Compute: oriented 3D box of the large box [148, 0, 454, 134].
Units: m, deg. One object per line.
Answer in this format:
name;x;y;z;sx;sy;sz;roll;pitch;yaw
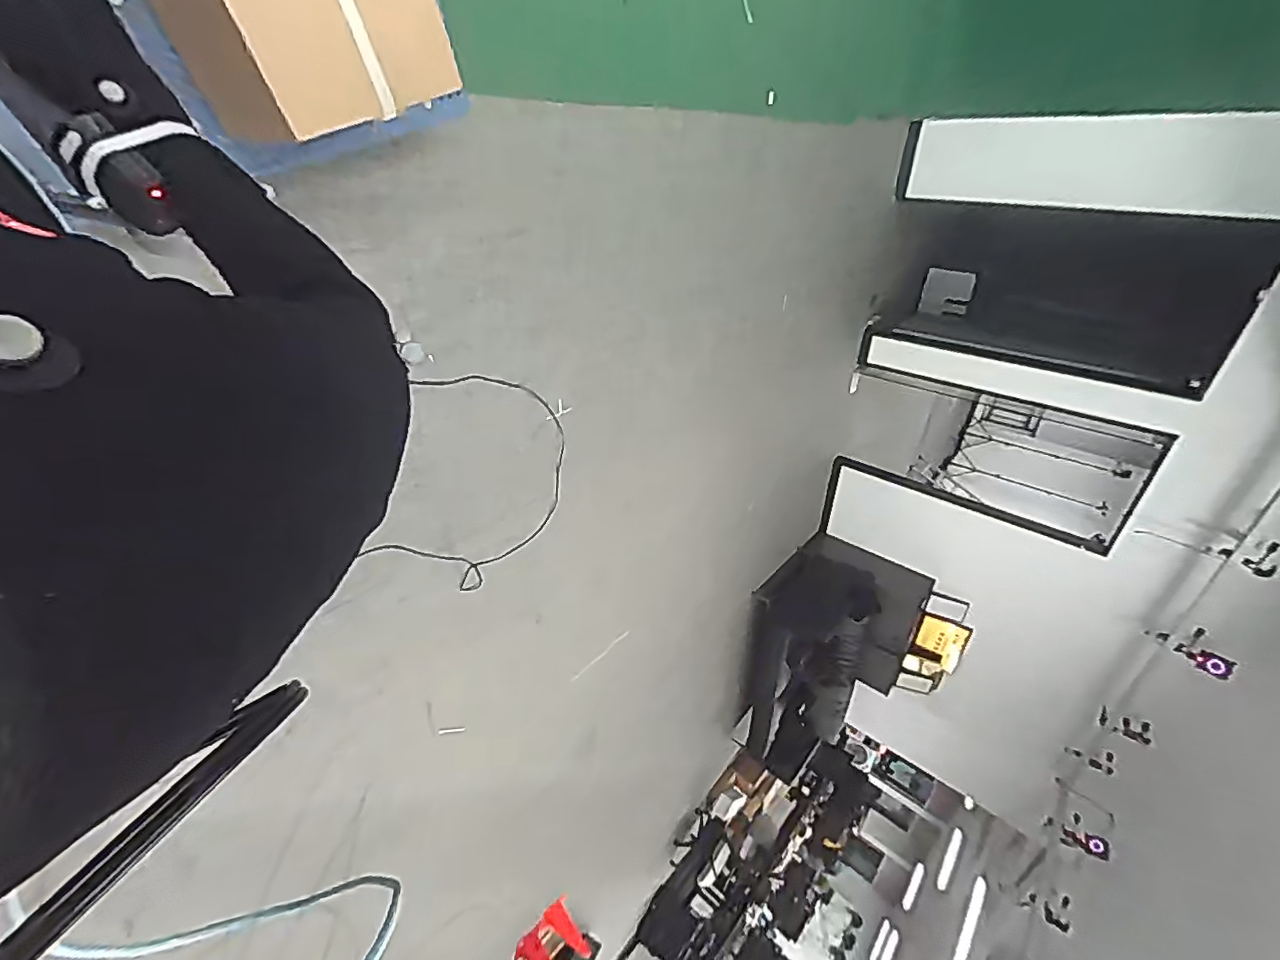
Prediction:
large box;-0.564;-0.799;0.819;0.320;0.320;0.408;-44;141;-29
